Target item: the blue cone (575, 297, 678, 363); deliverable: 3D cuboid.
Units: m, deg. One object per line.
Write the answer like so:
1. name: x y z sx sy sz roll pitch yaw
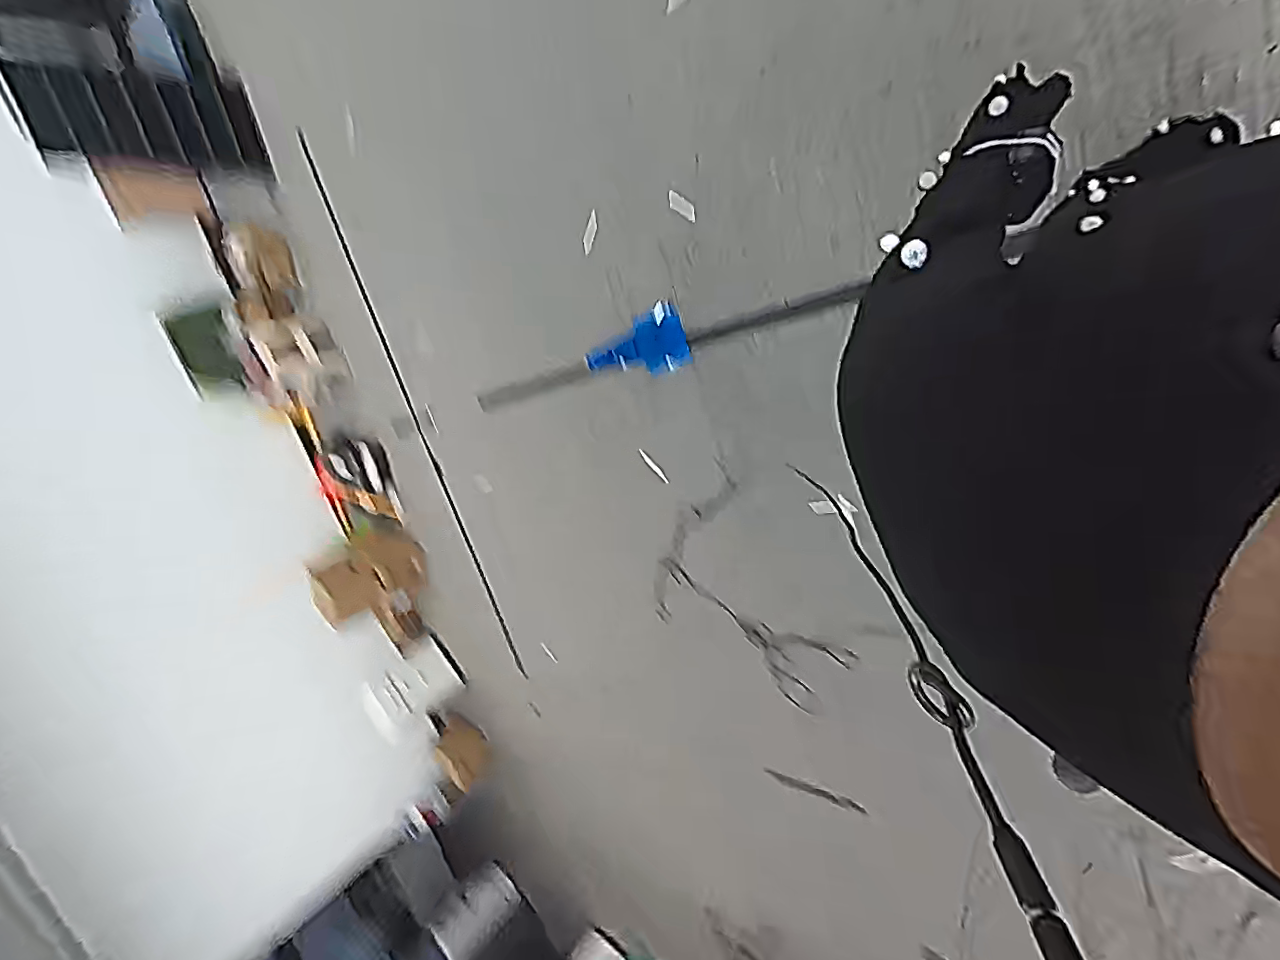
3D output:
1. blue cone: -0.061 -0.446 1.719 0.193 0.380 0.192 -9 104 44
